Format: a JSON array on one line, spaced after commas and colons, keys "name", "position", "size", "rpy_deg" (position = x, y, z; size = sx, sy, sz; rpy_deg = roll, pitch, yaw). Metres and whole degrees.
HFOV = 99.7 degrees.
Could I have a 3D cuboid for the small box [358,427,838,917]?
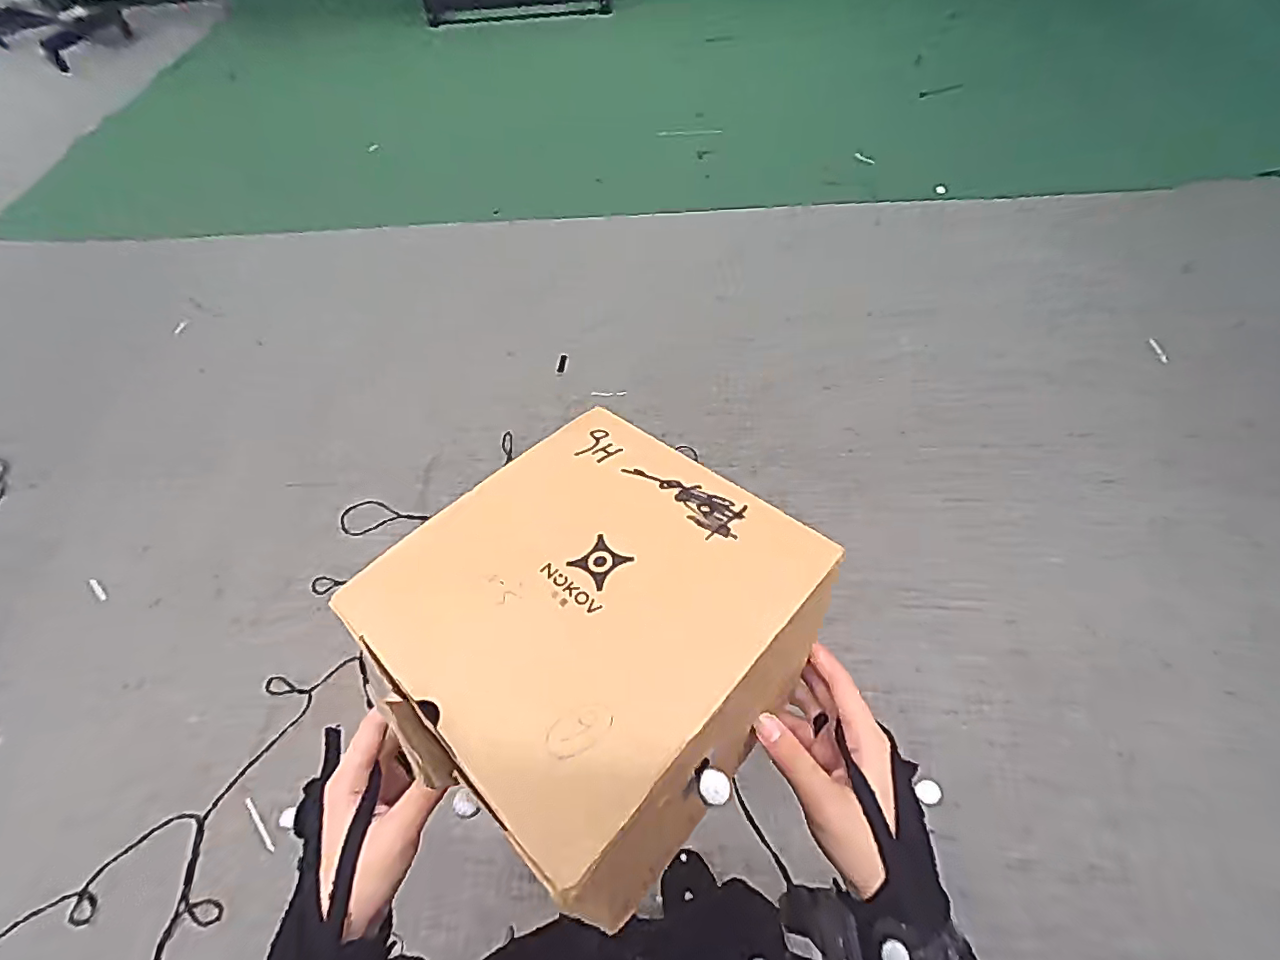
[{"name": "small box", "position": [-0.014, 0.107, 0.315], "size": [0.168, 0.176, 0.179], "rpy_deg": [33, 58, 30]}]
